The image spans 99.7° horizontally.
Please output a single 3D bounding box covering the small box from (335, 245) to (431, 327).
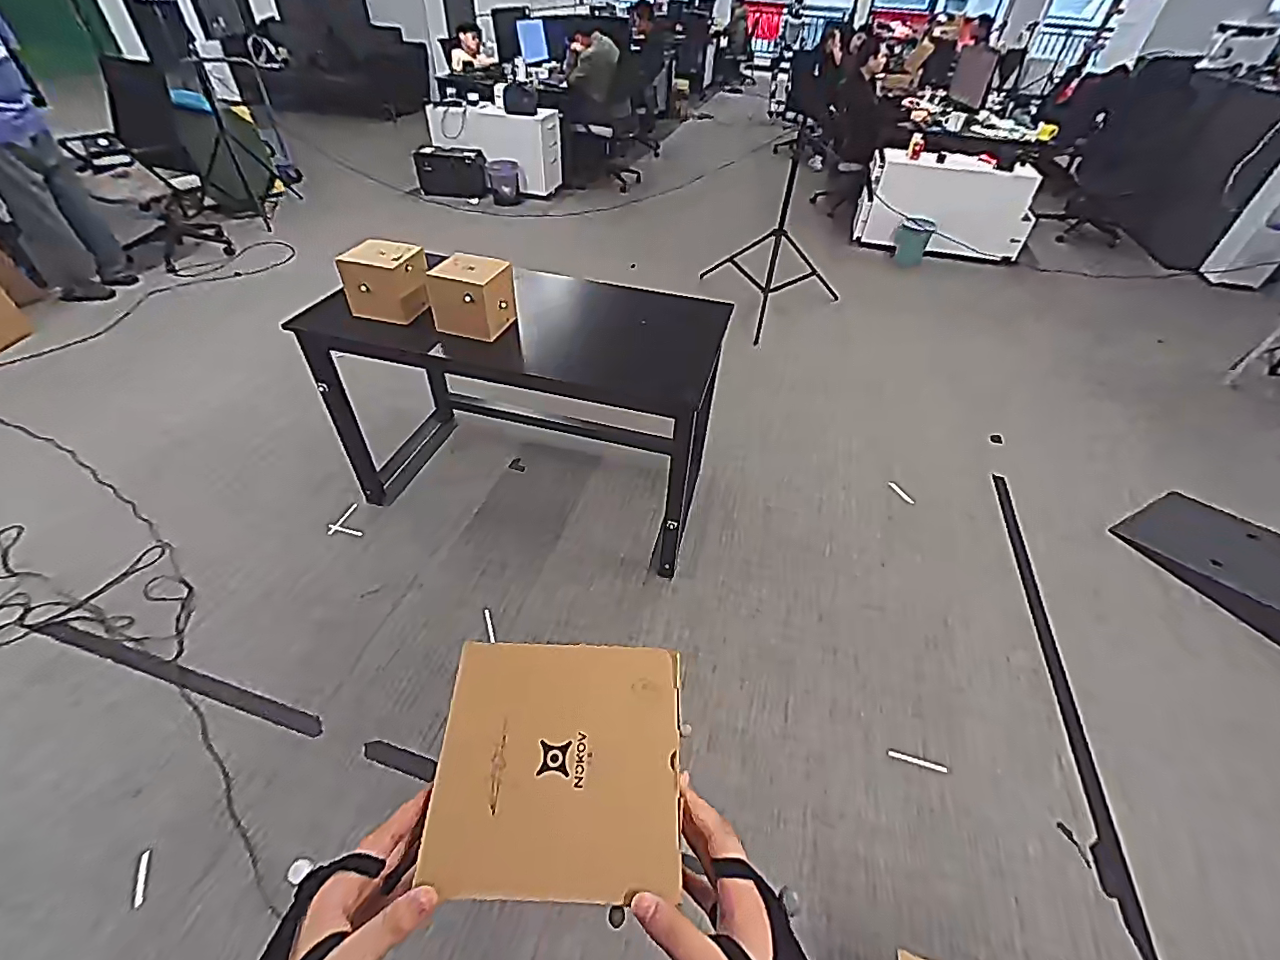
[{"bbox_3d":[-0.735,-0.563,1.573,0.179,0.176,0.168,11,44,8],"label":"small box"}]

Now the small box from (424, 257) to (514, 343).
[{"bbox_3d":[-0.472,-0.506,1.527,0.179,0.176,0.168,13,43,11],"label":"small box"}]
